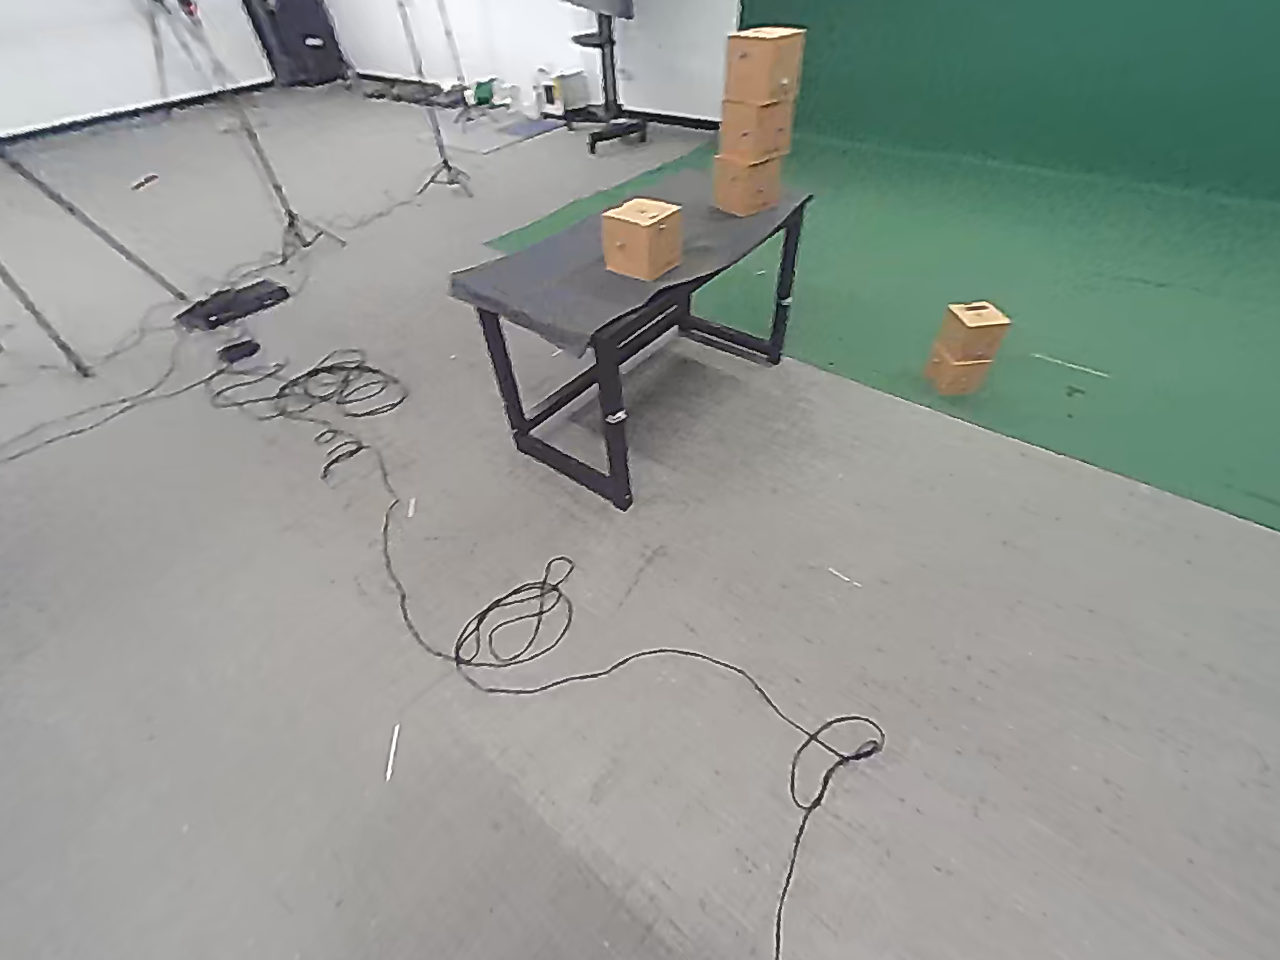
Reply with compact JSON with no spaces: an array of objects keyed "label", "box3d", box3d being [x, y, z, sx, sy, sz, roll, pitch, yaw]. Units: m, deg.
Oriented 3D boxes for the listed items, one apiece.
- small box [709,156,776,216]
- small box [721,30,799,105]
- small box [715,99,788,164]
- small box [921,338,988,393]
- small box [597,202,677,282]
[{"label":"small box","box3d":[0.362,-1.061,1.929,0.168,0.176,0.179,-25,47,-19]},{"label":"small box","box3d":[0.369,-1.298,1.703,0.168,0.176,0.179,-35,52,-26]},{"label":"small box","box3d":[0.370,-1.182,1.819,0.168,0.176,0.179,-29,48,-23]},{"label":"small box","box3d":[1.341,-0.485,2.319,0.168,0.176,0.179,-6,46,-1]},{"label":"small box","box3d":[-0.004,-0.718,1.633,0.179,0.176,0.168,27,54,29]}]
